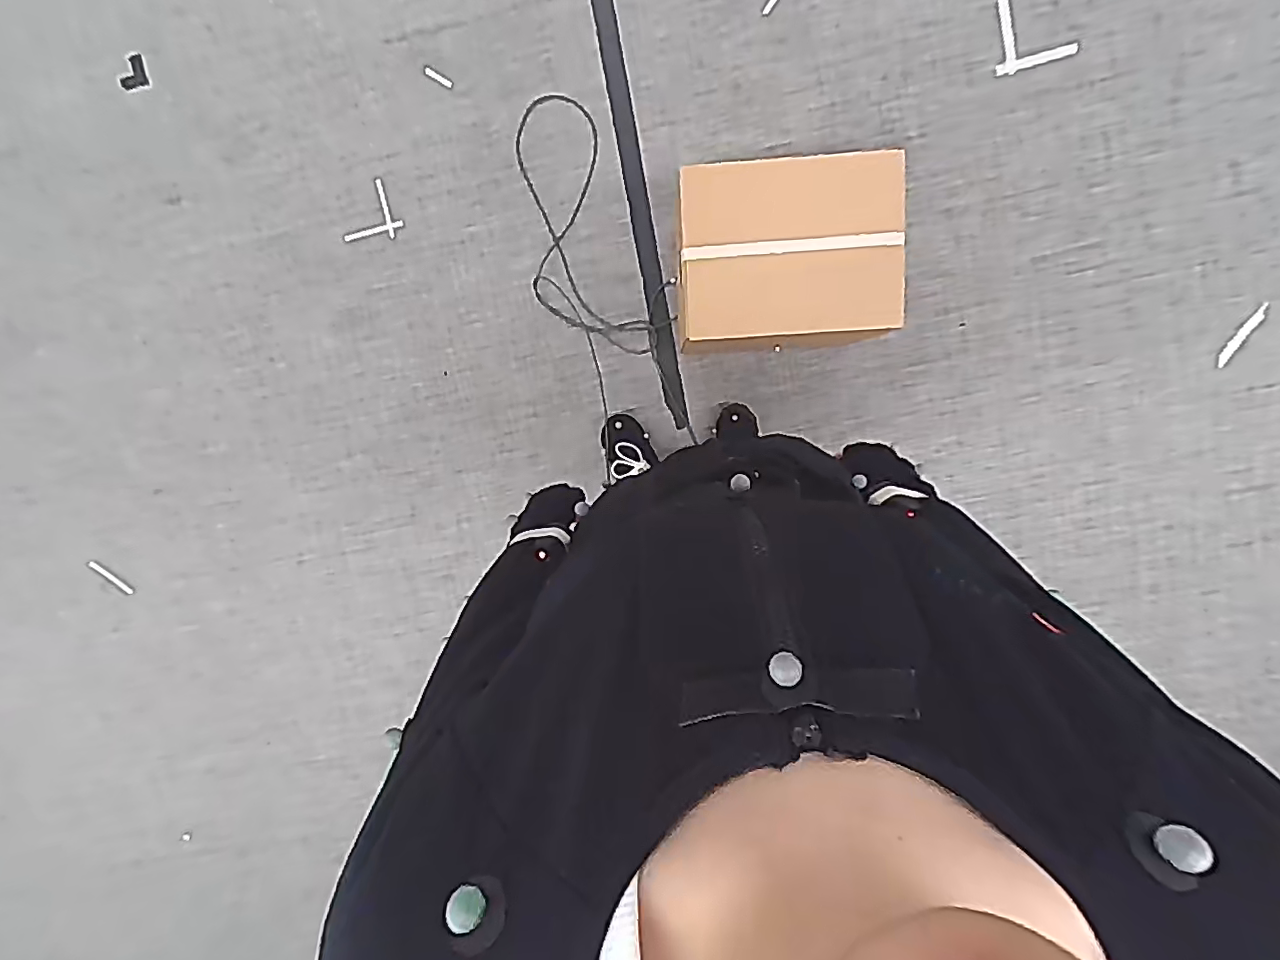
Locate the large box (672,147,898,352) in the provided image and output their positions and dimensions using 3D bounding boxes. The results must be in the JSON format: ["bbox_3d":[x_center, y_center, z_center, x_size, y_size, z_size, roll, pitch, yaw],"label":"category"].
[{"bbox_3d":[0.280,-0.457,1.149,0.408,0.320,0.320,-3,99,2],"label":"large box"}]
